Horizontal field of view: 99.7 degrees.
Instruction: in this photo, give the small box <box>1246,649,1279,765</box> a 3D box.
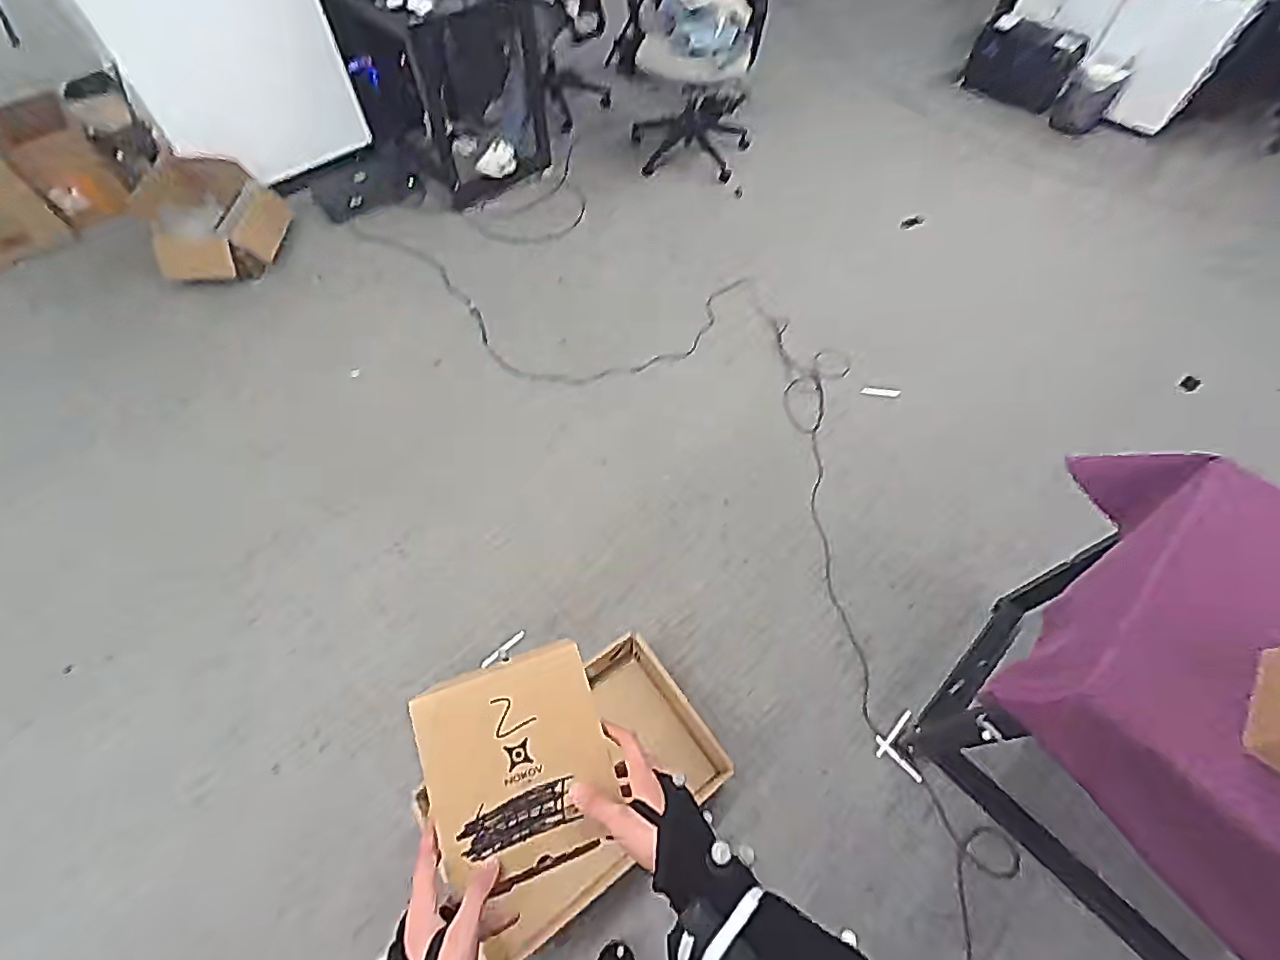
[{"bbox_3d":[0.944,0.315,0.684,0.168,0.176,0.179,36,64,19],"label":"small box"}]
